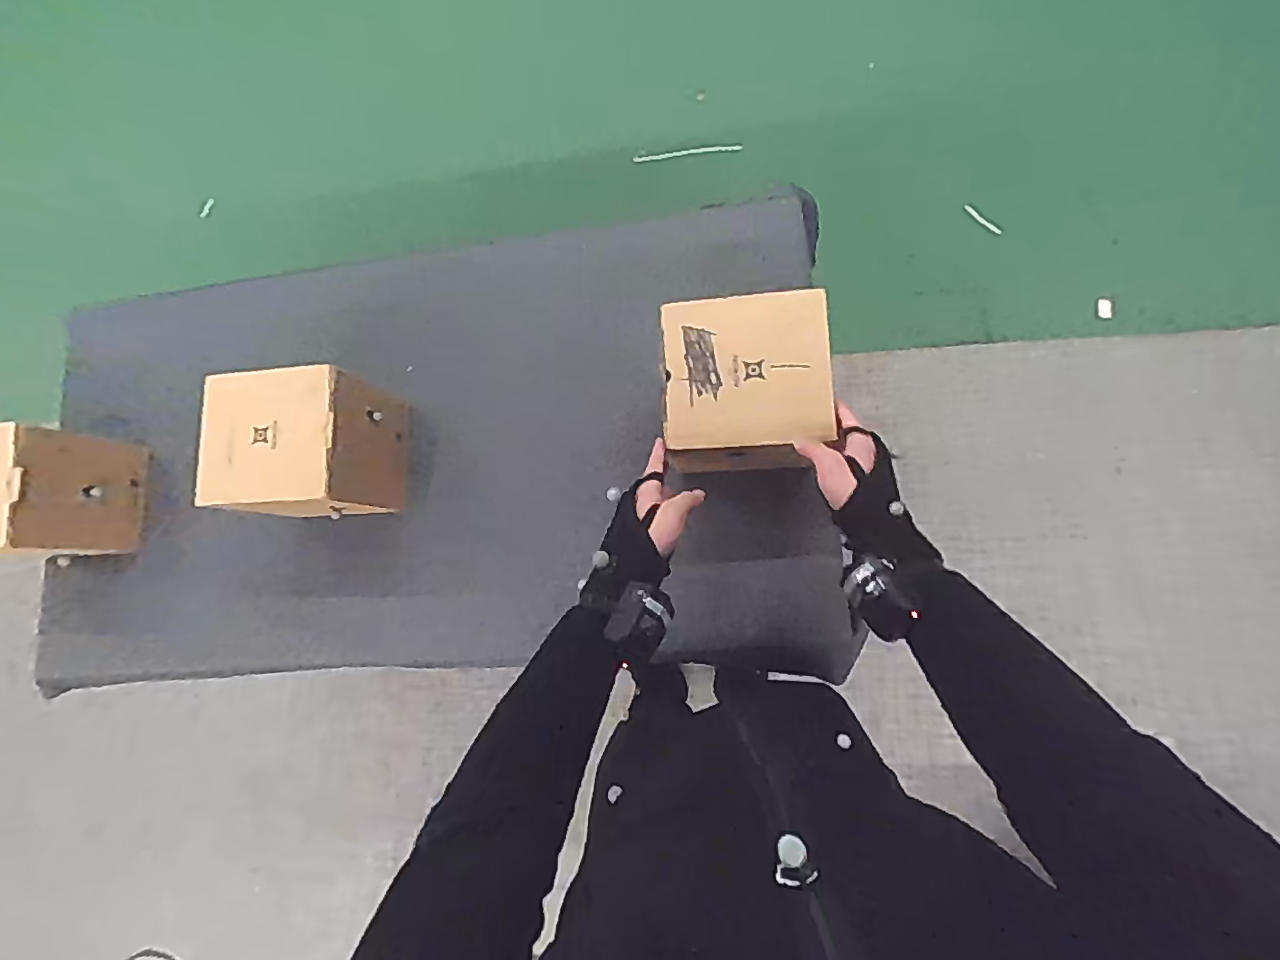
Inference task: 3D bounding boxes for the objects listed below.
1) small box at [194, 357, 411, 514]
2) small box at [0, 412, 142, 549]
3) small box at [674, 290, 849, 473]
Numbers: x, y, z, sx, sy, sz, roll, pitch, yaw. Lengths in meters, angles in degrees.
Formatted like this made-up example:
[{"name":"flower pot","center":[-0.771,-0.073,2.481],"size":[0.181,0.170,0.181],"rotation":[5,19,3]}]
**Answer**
[{"name":"small box","center":[-0.425,-0.048,0.710],"size":[0.179,0.176,0.168],"rotation":[-3,79,8]},{"name":"small box","center":[-0.858,0.009,0.756],"size":[0.179,0.176,0.168],"rotation":[-3,80,6]},{"name":"small box","center":[0.134,-0.103,0.639],"size":[0.179,0.176,0.168],"rotation":[-1,80,7]}]
